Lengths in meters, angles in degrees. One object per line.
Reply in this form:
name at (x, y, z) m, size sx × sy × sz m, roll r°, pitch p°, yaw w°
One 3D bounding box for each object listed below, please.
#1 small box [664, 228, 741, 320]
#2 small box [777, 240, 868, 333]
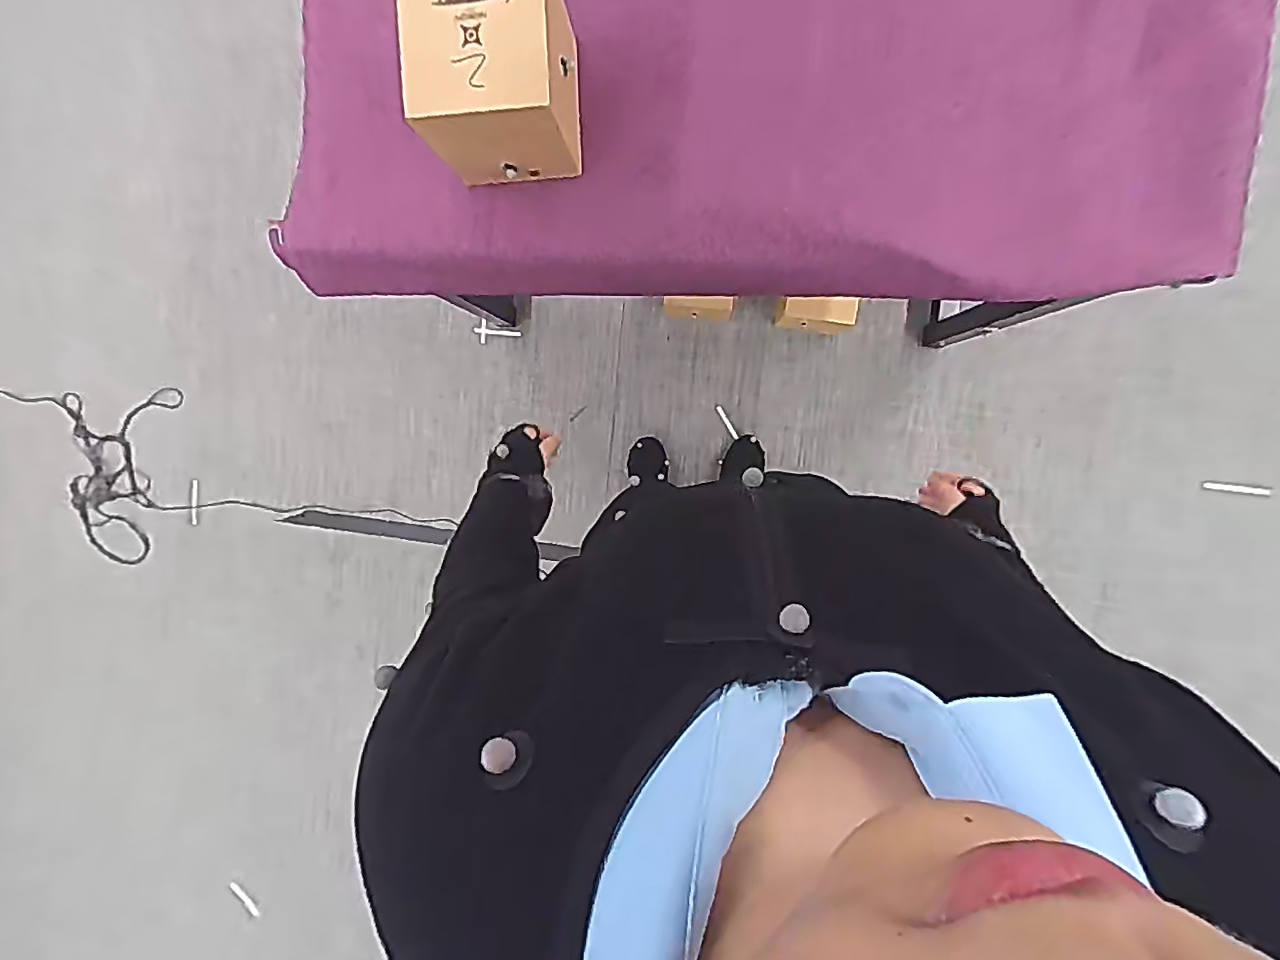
small box at (0.157, -0.510, 1.362) m, size 0.168 × 0.176 × 0.179 m, roll 7°, pitch 96°, yaw 4°
small box at (0.443, -0.471, 1.340) m, size 0.168 × 0.176 × 0.179 m, roll 9°, pitch 96°, yaw 5°
